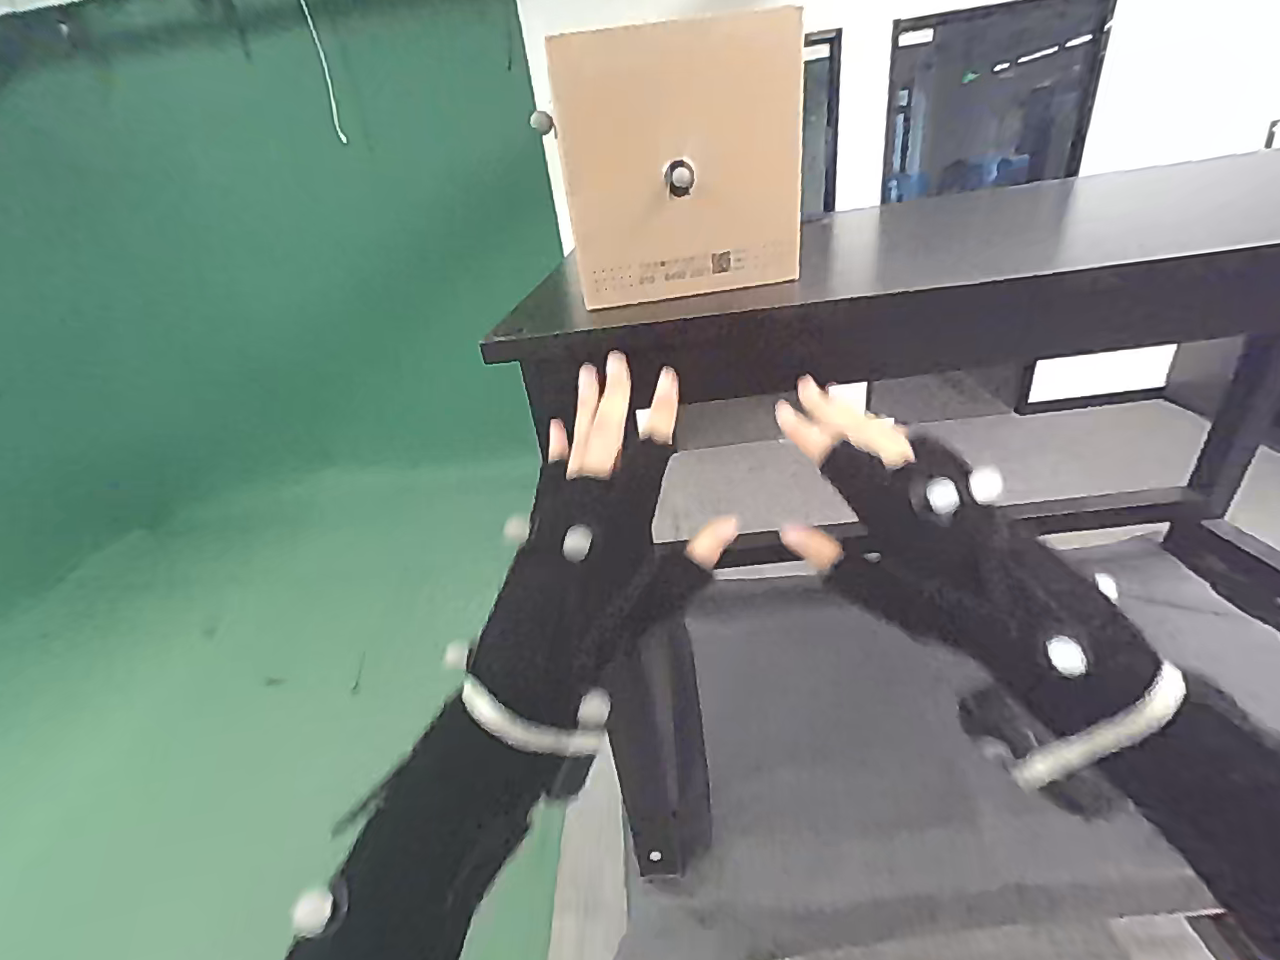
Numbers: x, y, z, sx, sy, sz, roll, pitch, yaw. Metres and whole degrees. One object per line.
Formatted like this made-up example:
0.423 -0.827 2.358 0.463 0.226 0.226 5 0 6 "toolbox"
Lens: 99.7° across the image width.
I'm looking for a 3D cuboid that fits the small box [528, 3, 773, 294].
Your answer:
0.009 -0.260 0.457 0.168 0.176 0.179 -9 28 -3 "small box"
